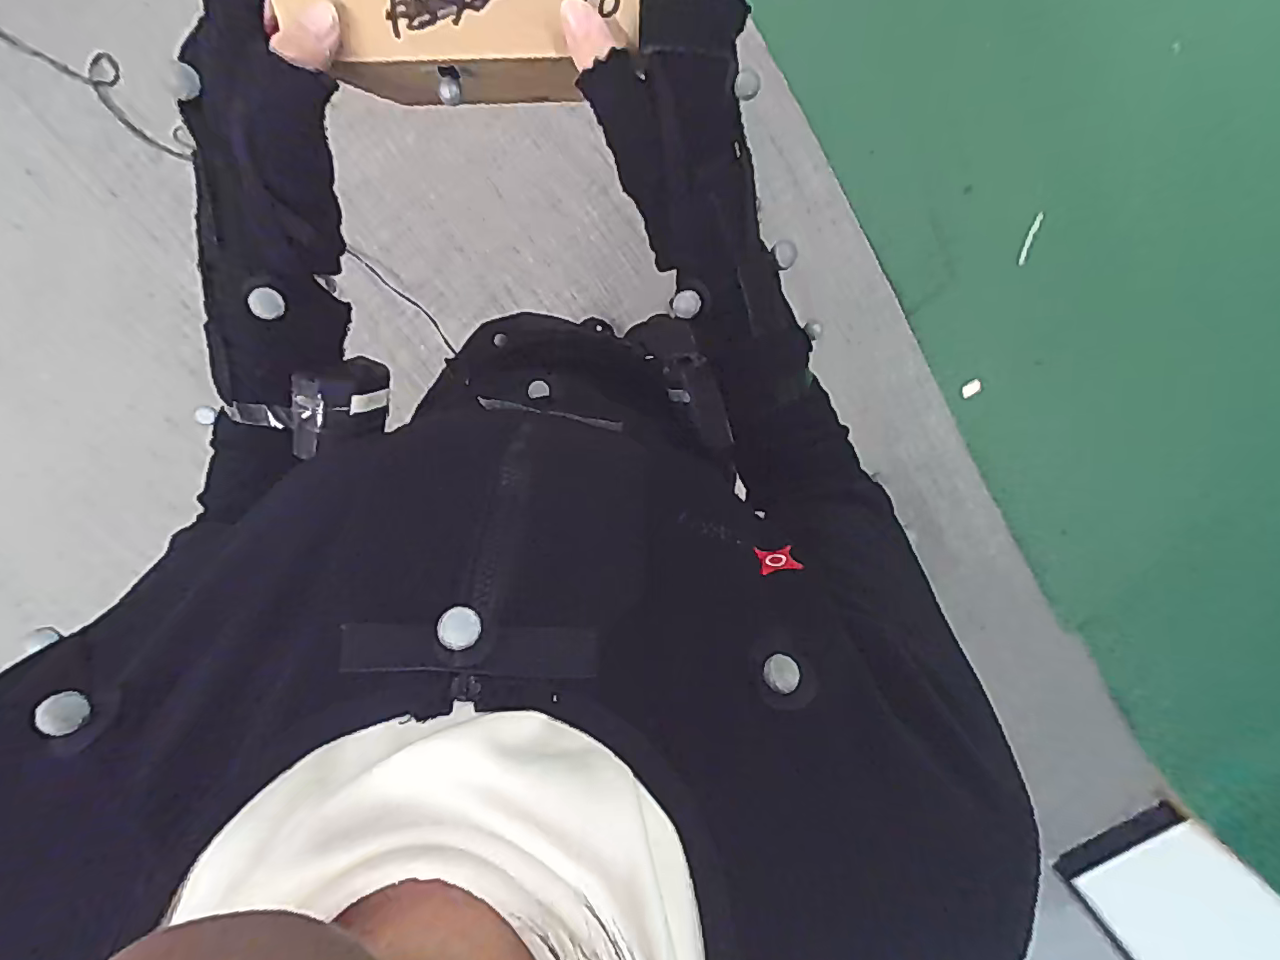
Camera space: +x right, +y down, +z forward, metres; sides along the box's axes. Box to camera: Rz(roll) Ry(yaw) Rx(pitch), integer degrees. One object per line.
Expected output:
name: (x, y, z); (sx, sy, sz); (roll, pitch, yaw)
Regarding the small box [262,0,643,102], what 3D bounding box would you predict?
small box: (-0.091, -0.311, 0.273); (0.168, 0.176, 0.179); (-5, 119, -4)
